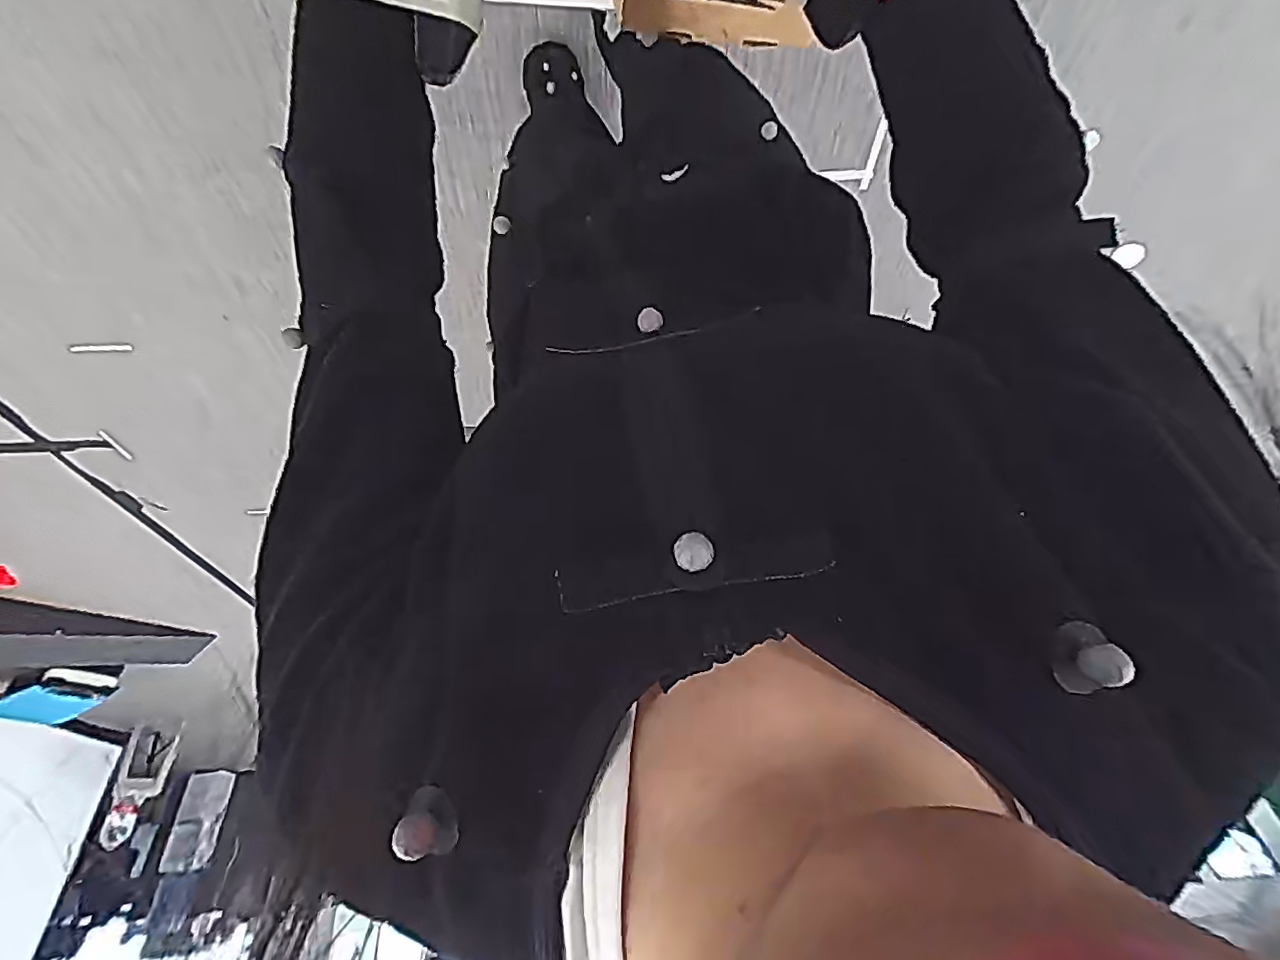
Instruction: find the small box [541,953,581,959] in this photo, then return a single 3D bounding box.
[{"bbox_3d":[-0.256,1.524,1.597,0.168,0.176,0.179,-4,144,-7],"label":"small box"}]
